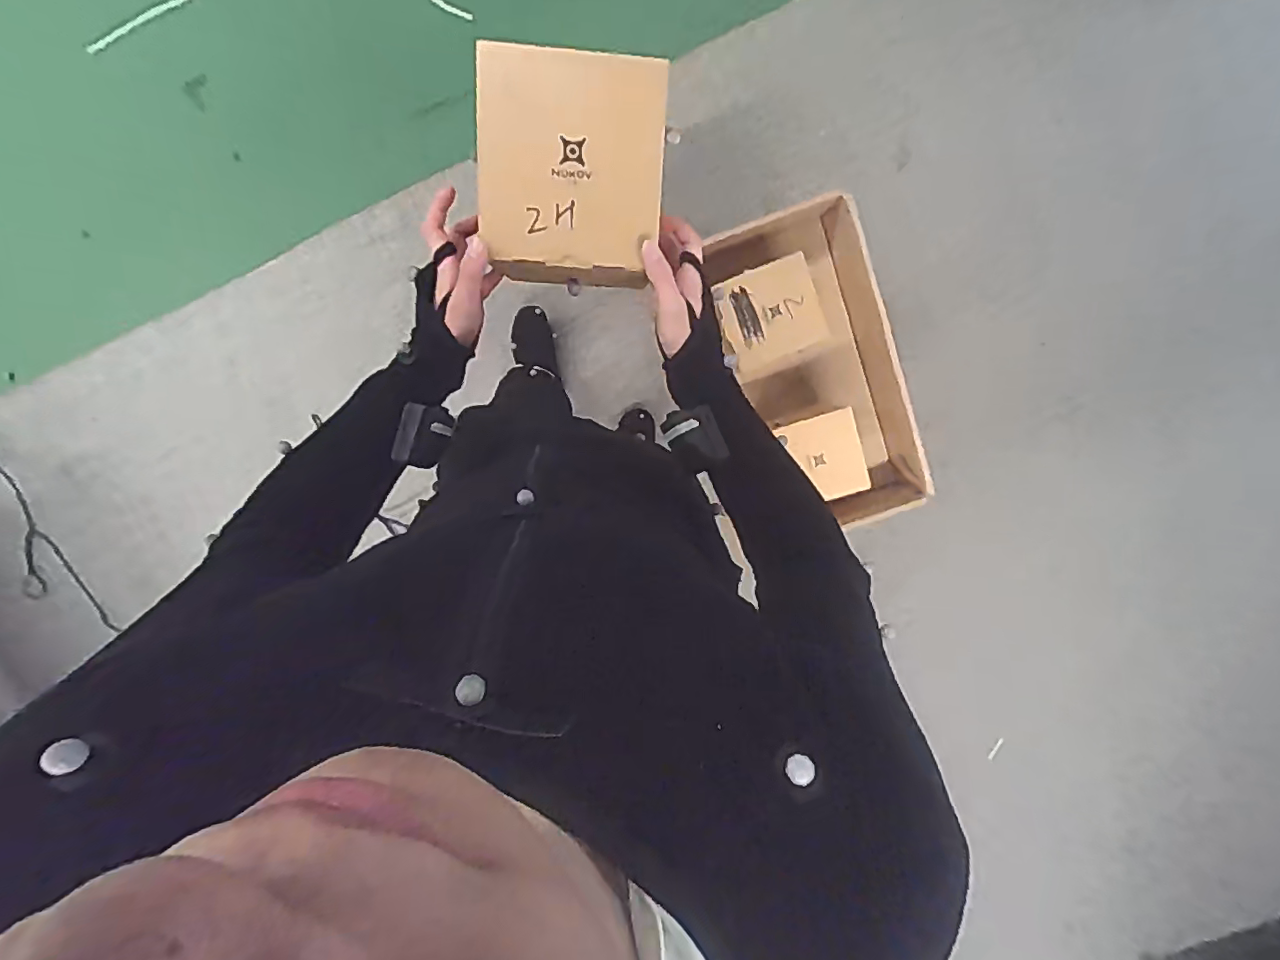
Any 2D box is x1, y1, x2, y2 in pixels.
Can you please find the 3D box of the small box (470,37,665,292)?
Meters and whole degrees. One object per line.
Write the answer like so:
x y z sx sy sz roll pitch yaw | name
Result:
-0.072 -0.299 0.553 0.168 0.176 0.179 3 104 -5 | small box

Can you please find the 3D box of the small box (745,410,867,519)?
0.330 -0.040 1.101 0.179 0.176 0.168 -17 100 4 | small box
